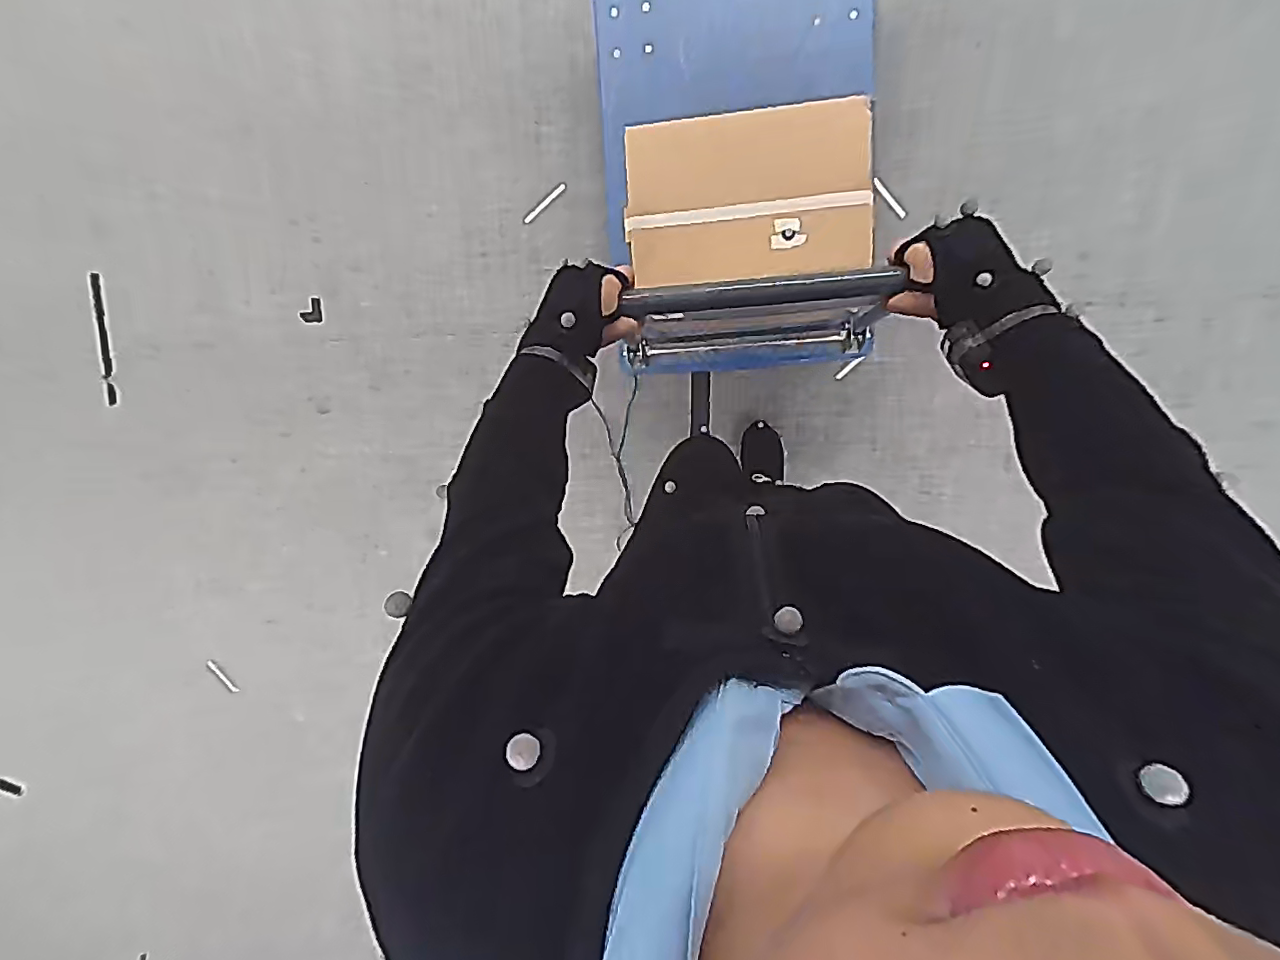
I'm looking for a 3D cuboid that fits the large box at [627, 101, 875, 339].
[{"bbox_3d":[0.201,-0.464,1.051,0.408,0.320,0.320,-3,99,8],"label":"large box"}]
